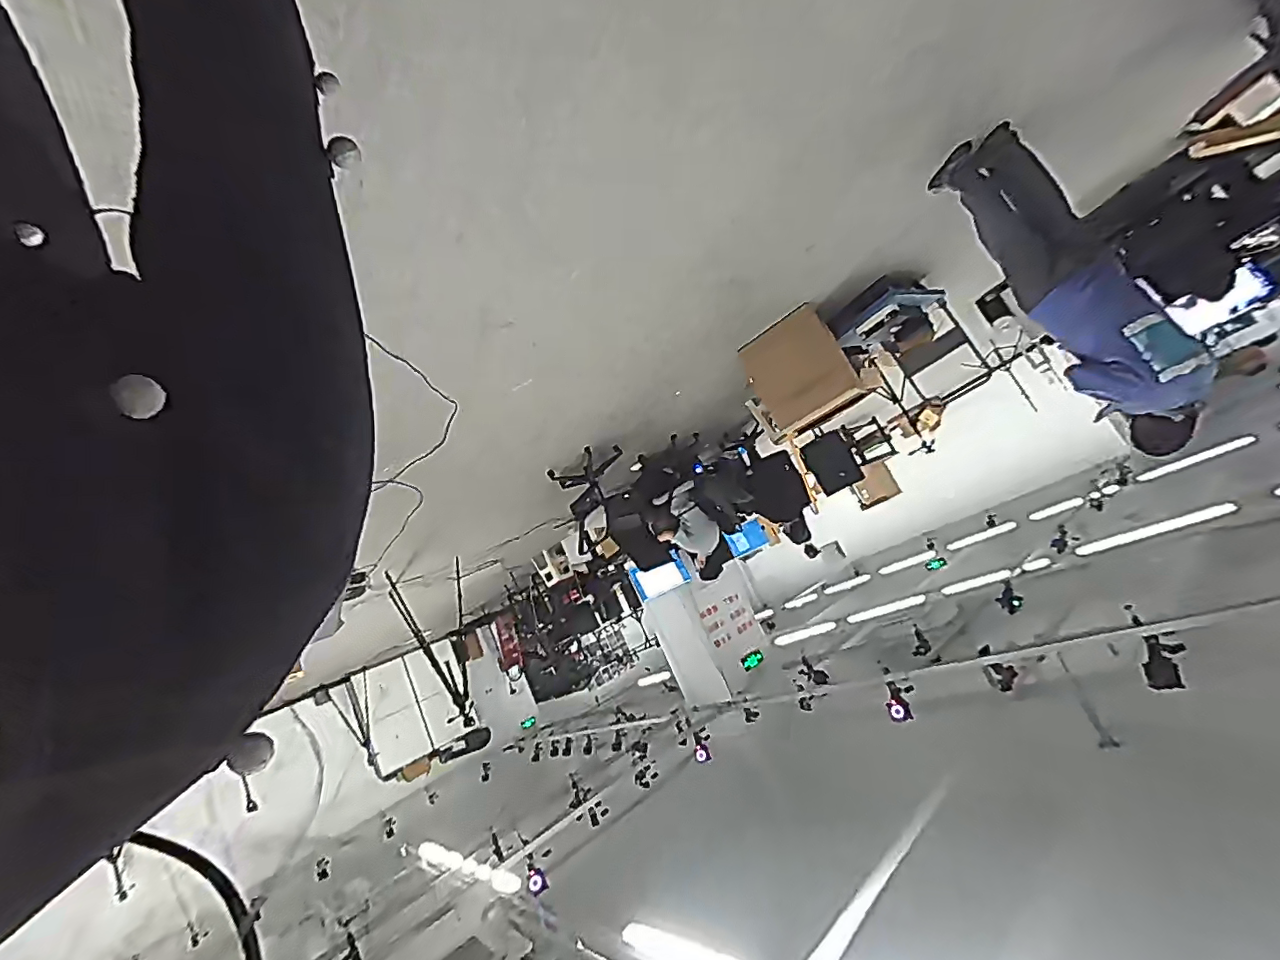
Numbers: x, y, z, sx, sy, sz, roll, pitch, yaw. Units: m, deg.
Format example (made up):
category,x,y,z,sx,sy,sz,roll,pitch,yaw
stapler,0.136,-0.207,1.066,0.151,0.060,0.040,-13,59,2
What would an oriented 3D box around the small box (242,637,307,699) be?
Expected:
category,x,y,z,sx,sy,sz,roll,pitch,yaw
small box,-1.440,0.737,2.134,0.179,0.176,0.168,-16,163,-35
